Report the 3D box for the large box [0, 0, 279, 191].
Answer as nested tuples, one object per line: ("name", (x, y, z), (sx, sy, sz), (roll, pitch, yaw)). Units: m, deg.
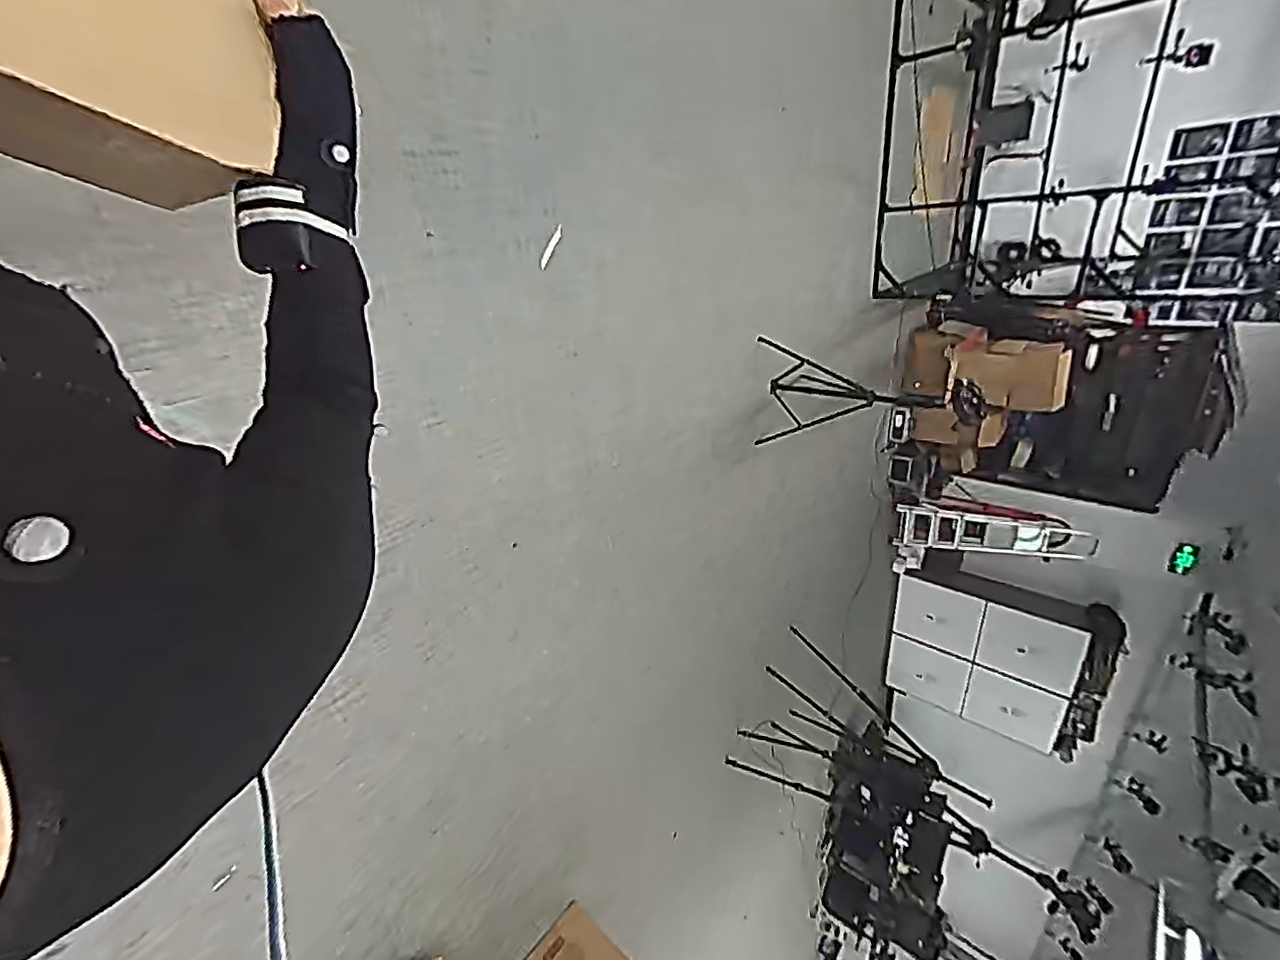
("large box", (-0.507, -0.438, 0.341), (0.408, 0.320, 0.320), (3, 101, -53))
